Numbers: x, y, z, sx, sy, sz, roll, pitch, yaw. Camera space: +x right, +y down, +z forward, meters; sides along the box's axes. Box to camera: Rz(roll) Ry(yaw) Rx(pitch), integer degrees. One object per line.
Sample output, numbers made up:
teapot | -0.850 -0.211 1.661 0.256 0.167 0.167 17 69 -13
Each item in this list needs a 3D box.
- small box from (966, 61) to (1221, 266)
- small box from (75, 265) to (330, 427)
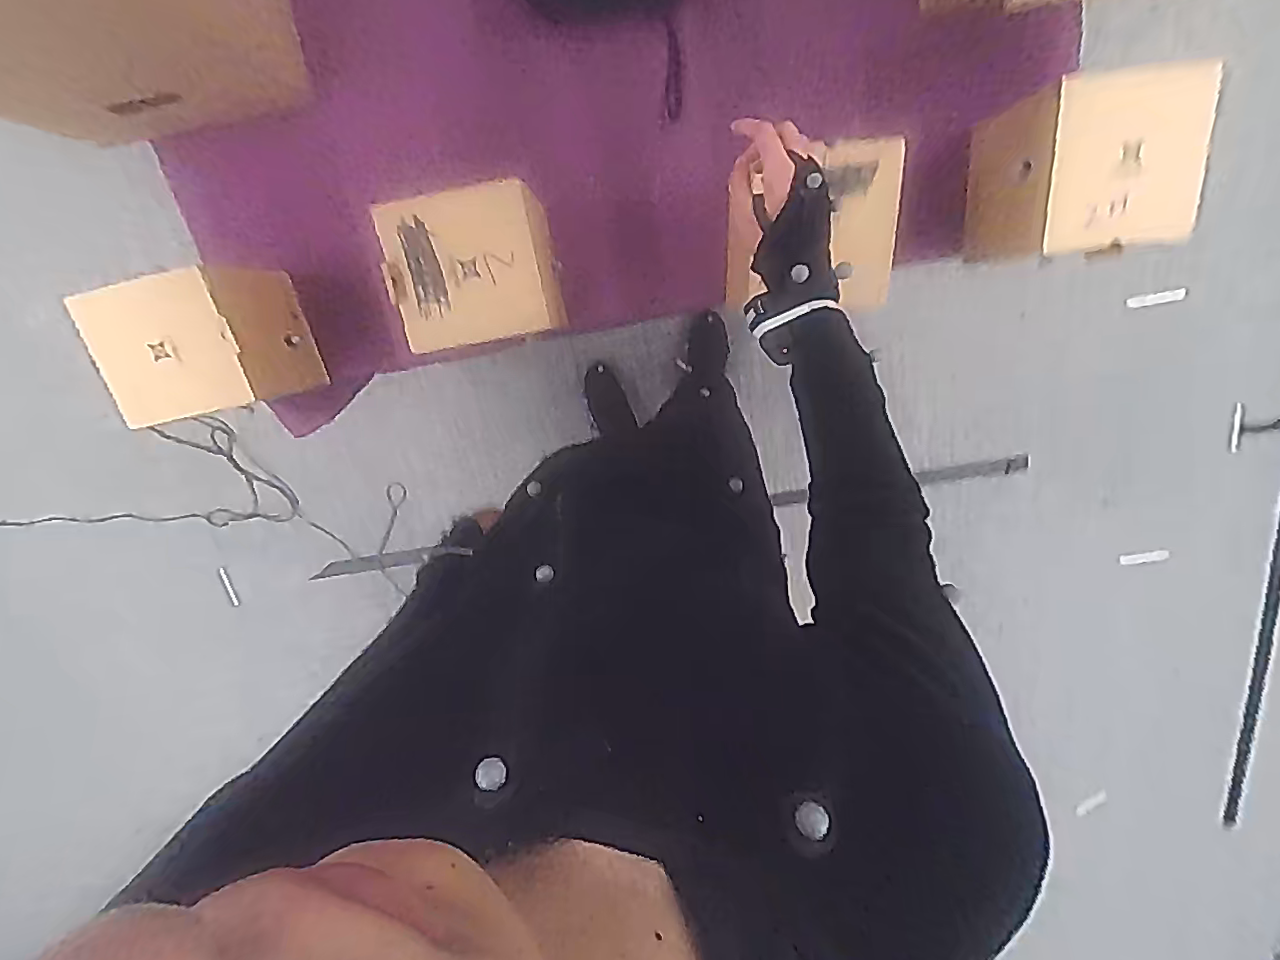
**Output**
small box | 0.530 -0.370 0.664 0.168 0.176 0.179 -4 107 3
small box | -0.571 -0.181 0.734 0.179 0.176 0.168 -12 107 3
